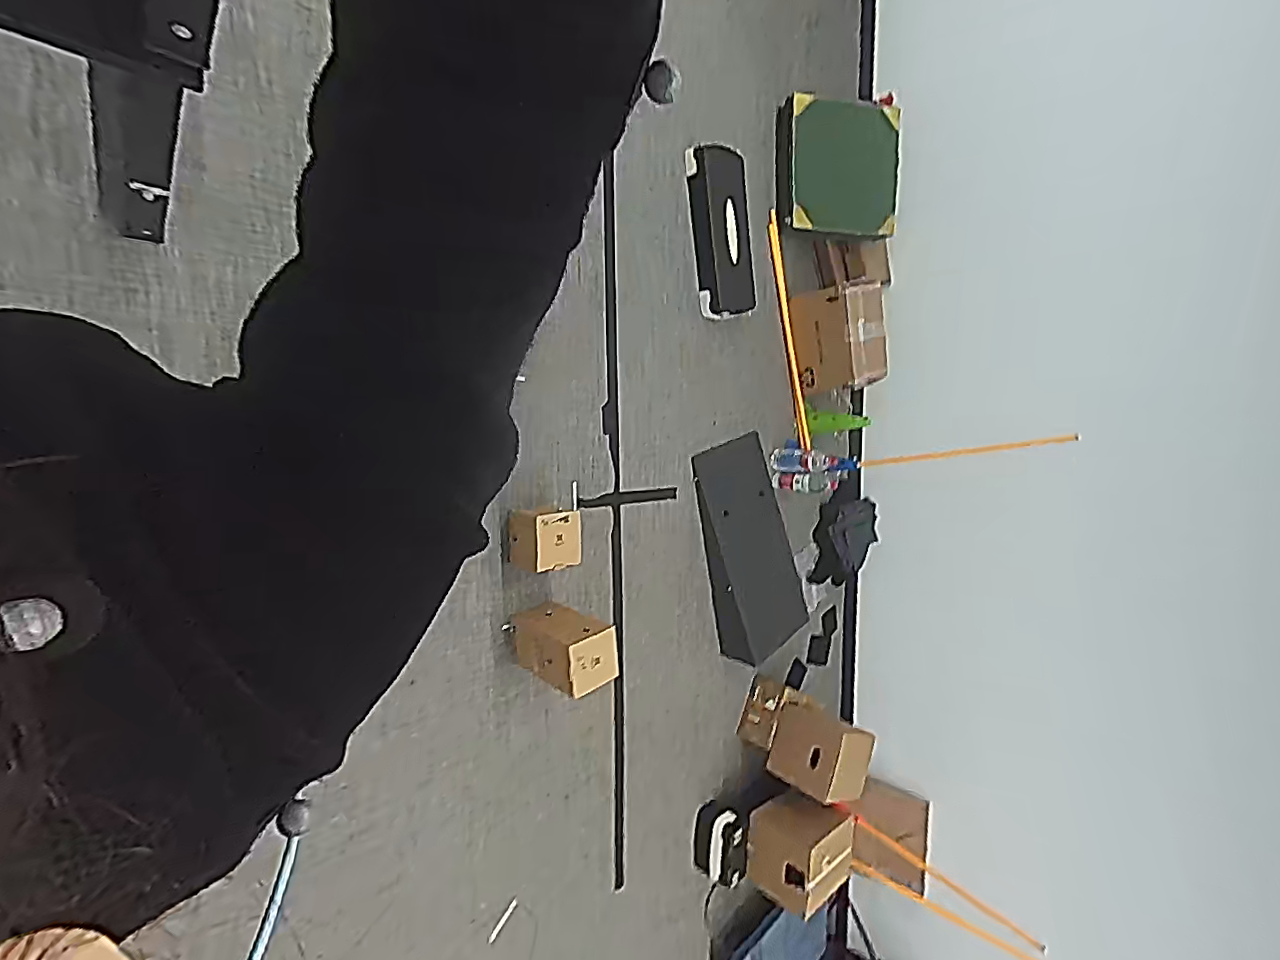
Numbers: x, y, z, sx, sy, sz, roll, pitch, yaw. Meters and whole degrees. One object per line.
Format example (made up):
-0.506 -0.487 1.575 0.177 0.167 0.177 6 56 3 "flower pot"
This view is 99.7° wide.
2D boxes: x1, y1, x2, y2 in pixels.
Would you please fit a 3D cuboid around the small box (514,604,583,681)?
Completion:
-0.297 0.522 1.760 0.179 0.176 0.168 -14 104 -43 "small box"

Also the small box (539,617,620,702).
-0.183 0.534 1.641 0.179 0.176 0.168 -13 102 -42 "small box"

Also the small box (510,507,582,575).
-0.302 0.189 1.722 0.168 0.176 0.179 -5 98 -43 "small box"
